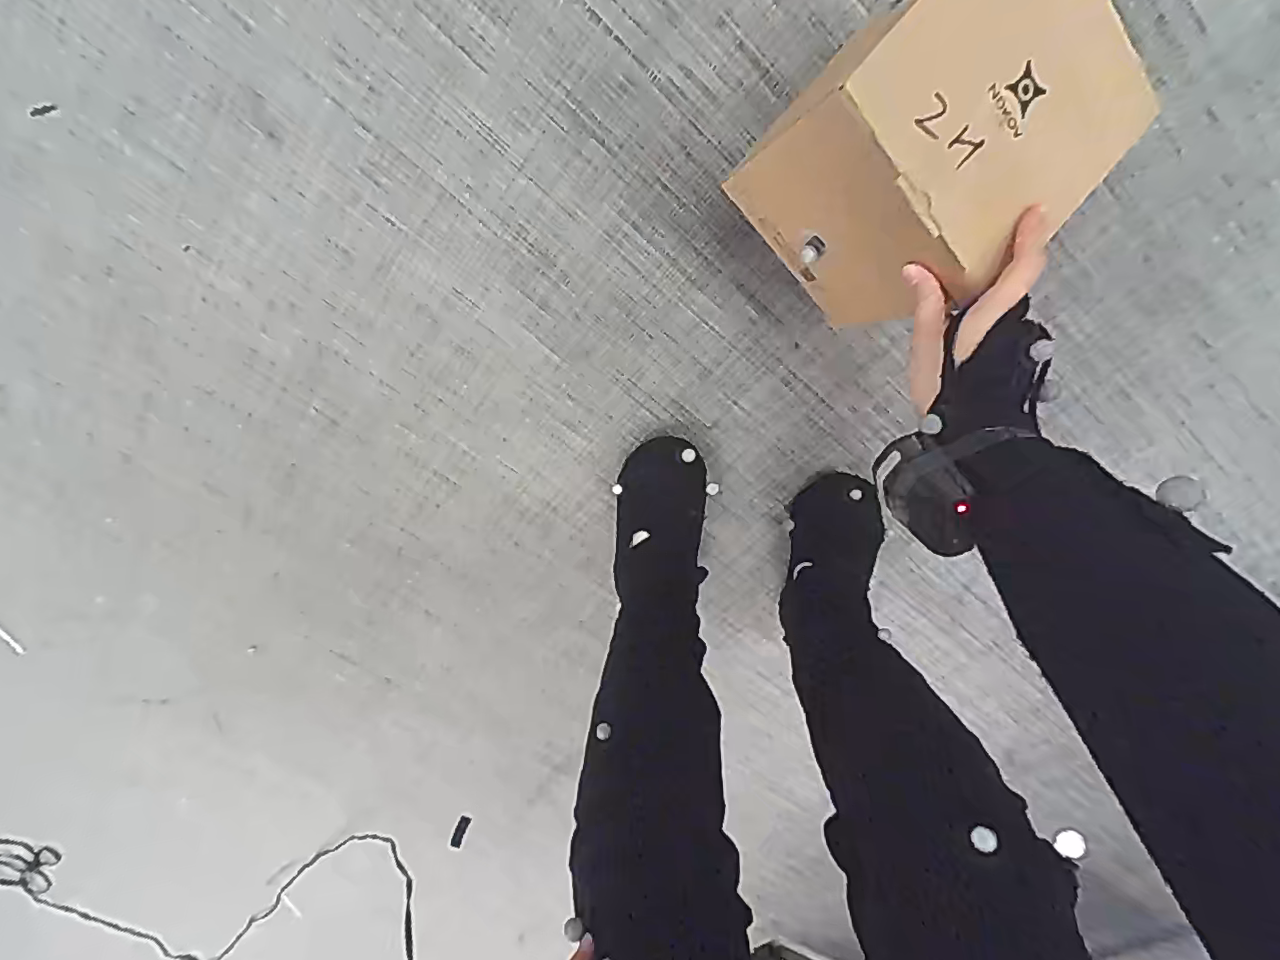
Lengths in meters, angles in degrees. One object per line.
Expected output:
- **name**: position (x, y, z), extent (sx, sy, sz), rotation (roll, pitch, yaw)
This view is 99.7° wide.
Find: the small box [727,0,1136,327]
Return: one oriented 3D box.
- **small box**: position (0.197, -0.238, 0.409), extent (0.168, 0.176, 0.179), rotation (42, 90, -17)
